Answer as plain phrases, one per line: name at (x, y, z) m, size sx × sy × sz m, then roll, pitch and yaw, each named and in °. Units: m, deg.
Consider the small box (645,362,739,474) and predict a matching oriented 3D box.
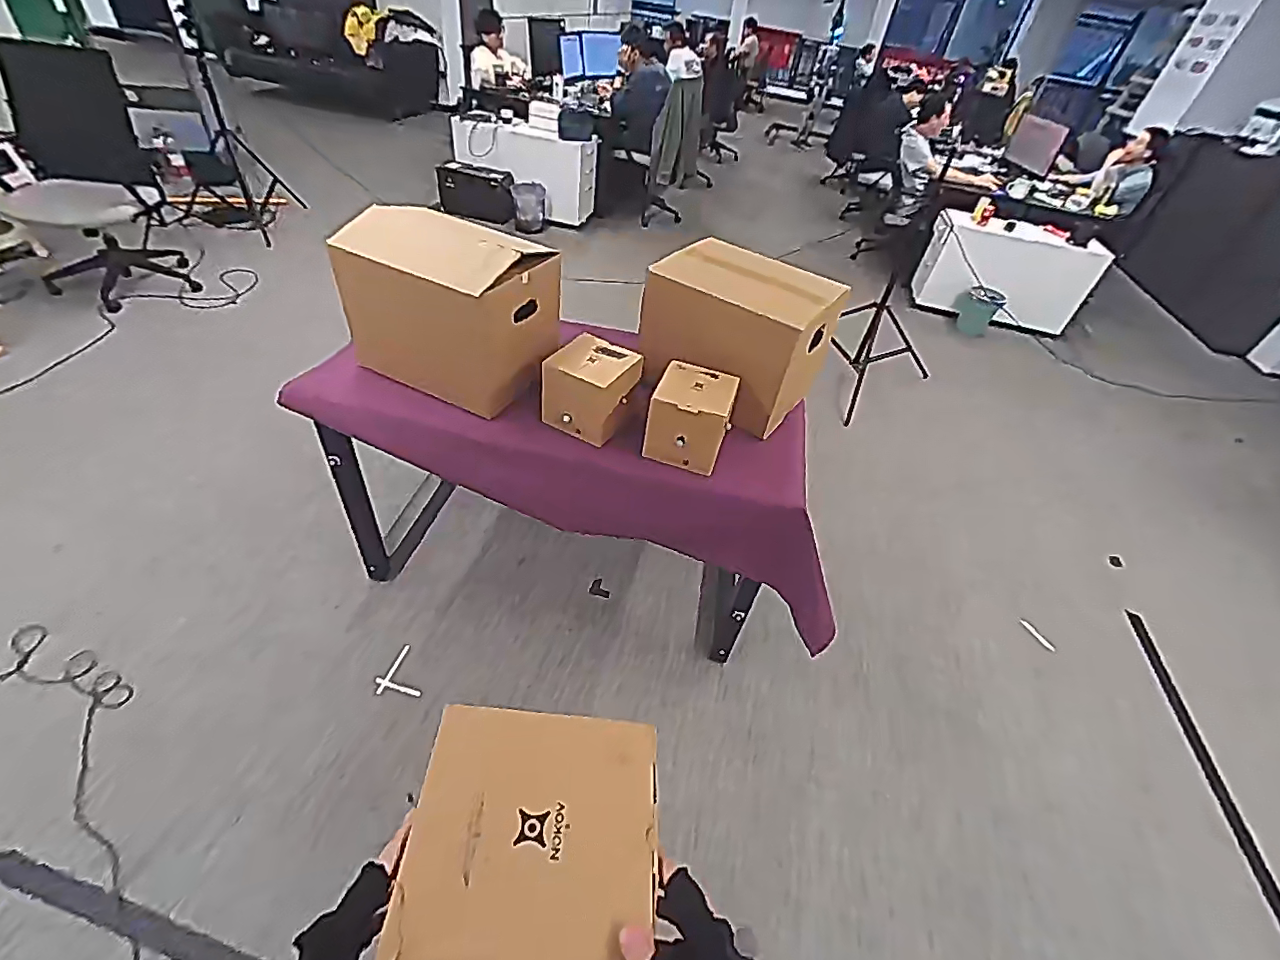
small box at (0.116, -0.140, 1.239) m, size 0.168 × 0.176 × 0.179 m, roll 17°, pitch 43°, yaw 7°
